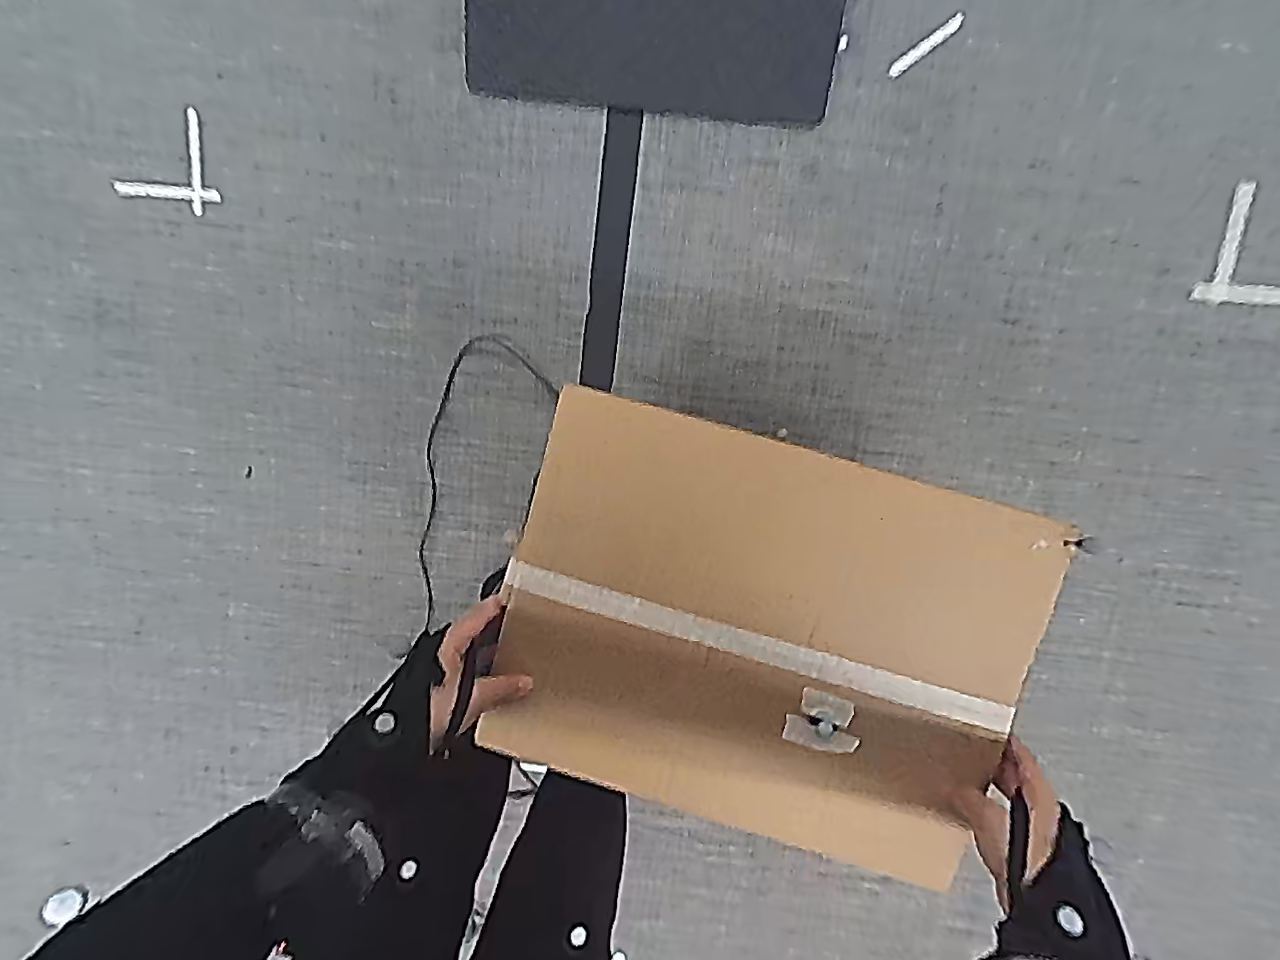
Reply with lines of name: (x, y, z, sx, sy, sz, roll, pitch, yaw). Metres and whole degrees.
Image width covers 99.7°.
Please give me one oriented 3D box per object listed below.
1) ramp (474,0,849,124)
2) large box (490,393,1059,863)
ramp: (0.062, -0.973, 0.567, 0.509, 0.206, 0.991, 5, 101, 0)
large box: (0.106, 0.110, 0.591, 0.408, 0.320, 0.320, 16, 98, 3)
